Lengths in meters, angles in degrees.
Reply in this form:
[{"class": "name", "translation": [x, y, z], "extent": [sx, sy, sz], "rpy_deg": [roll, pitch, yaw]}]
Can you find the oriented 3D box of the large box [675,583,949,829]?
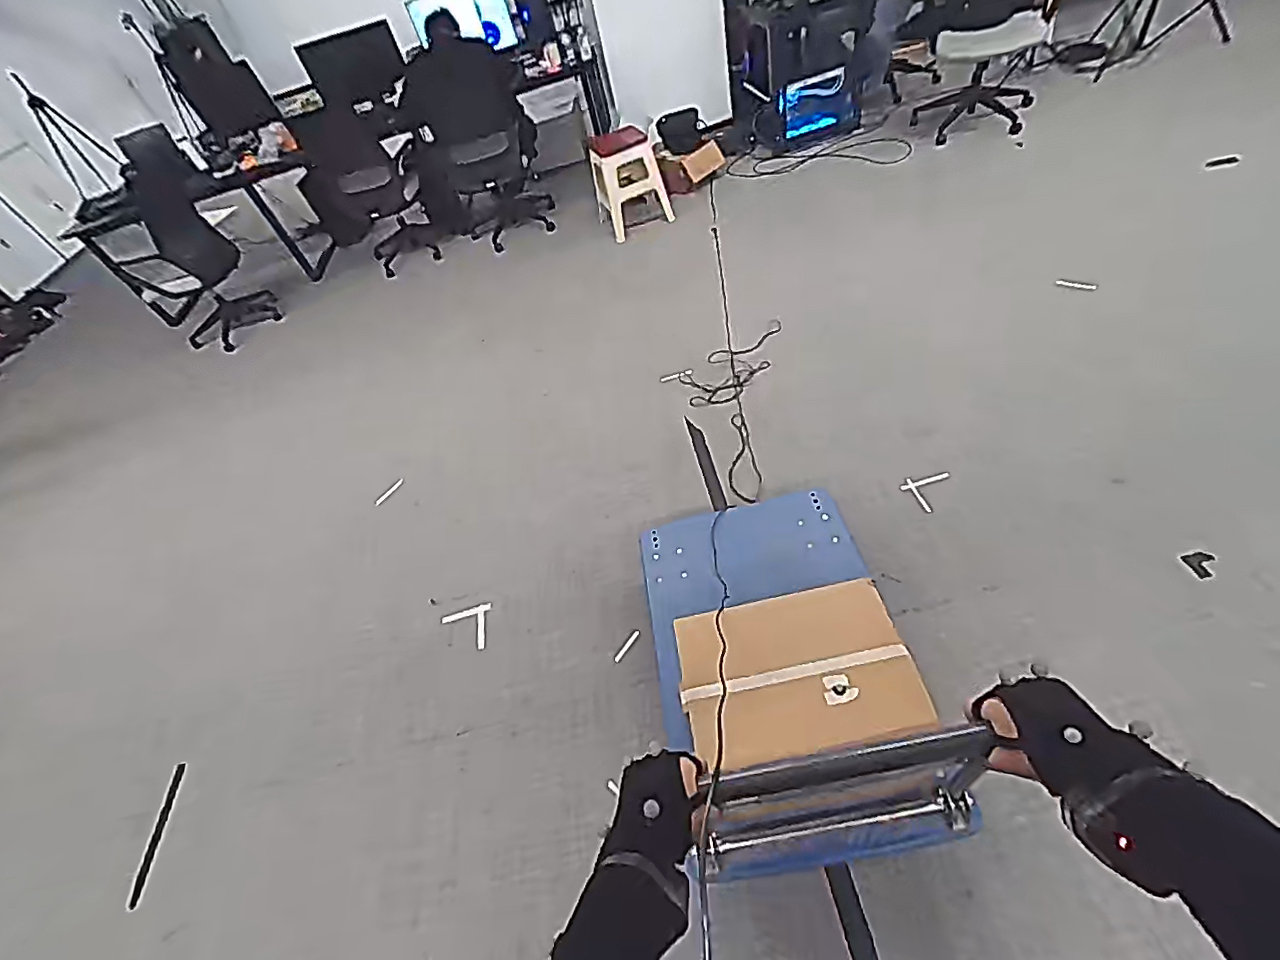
[{"class": "large box", "translation": [0.310, 0.454, 1.072], "extent": [0.408, 0.320, 0.320], "rpy_deg": [-14, 48, 5]}]
